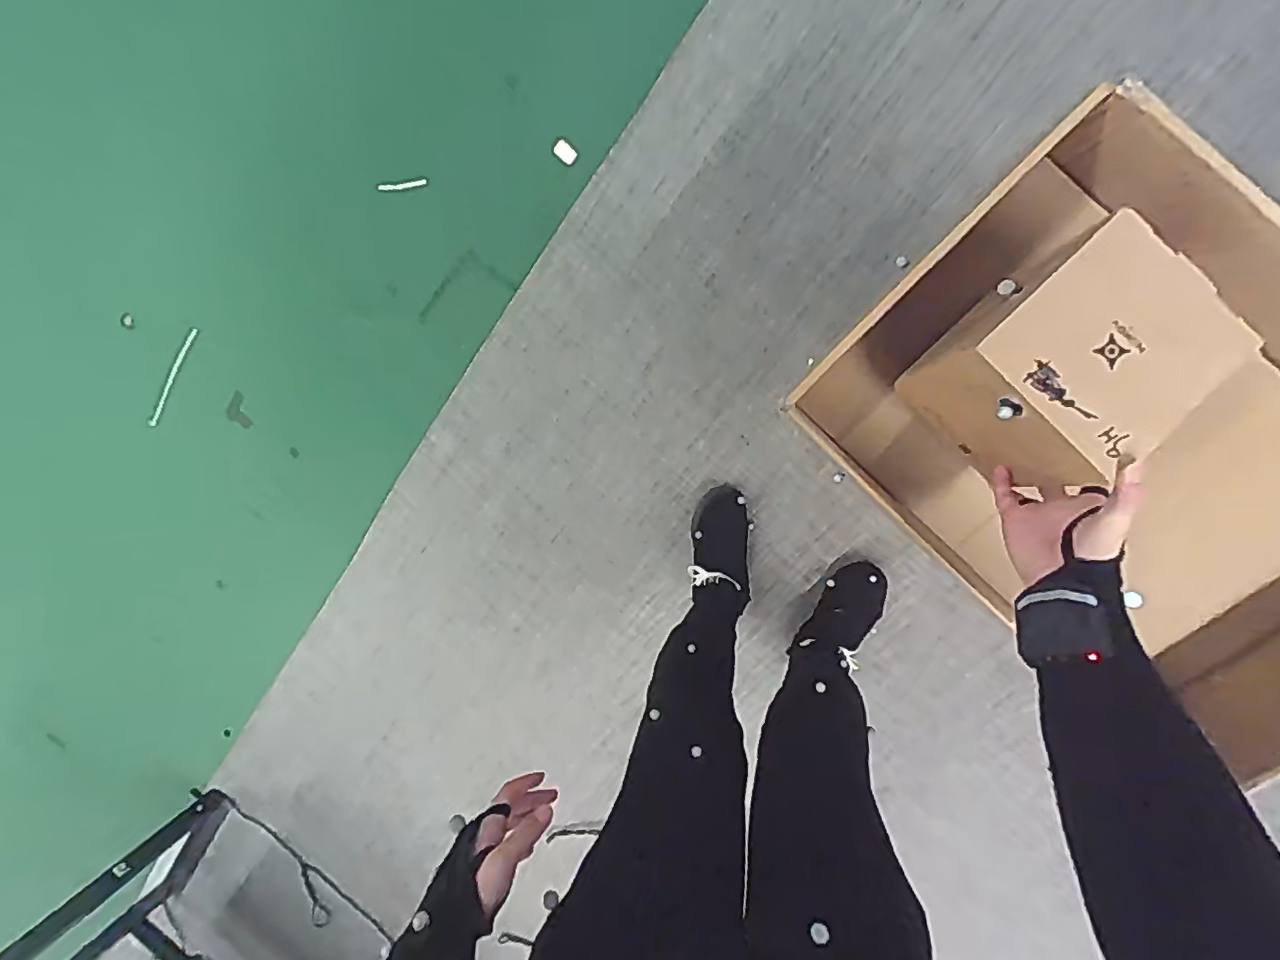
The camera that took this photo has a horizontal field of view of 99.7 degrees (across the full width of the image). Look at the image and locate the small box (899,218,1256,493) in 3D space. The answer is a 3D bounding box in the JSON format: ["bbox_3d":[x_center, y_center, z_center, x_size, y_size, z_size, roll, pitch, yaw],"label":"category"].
[{"bbox_3d":[0.400,-0.105,0.533,0.179,0.176,0.168,-43,87,1],"label":"small box"}]
